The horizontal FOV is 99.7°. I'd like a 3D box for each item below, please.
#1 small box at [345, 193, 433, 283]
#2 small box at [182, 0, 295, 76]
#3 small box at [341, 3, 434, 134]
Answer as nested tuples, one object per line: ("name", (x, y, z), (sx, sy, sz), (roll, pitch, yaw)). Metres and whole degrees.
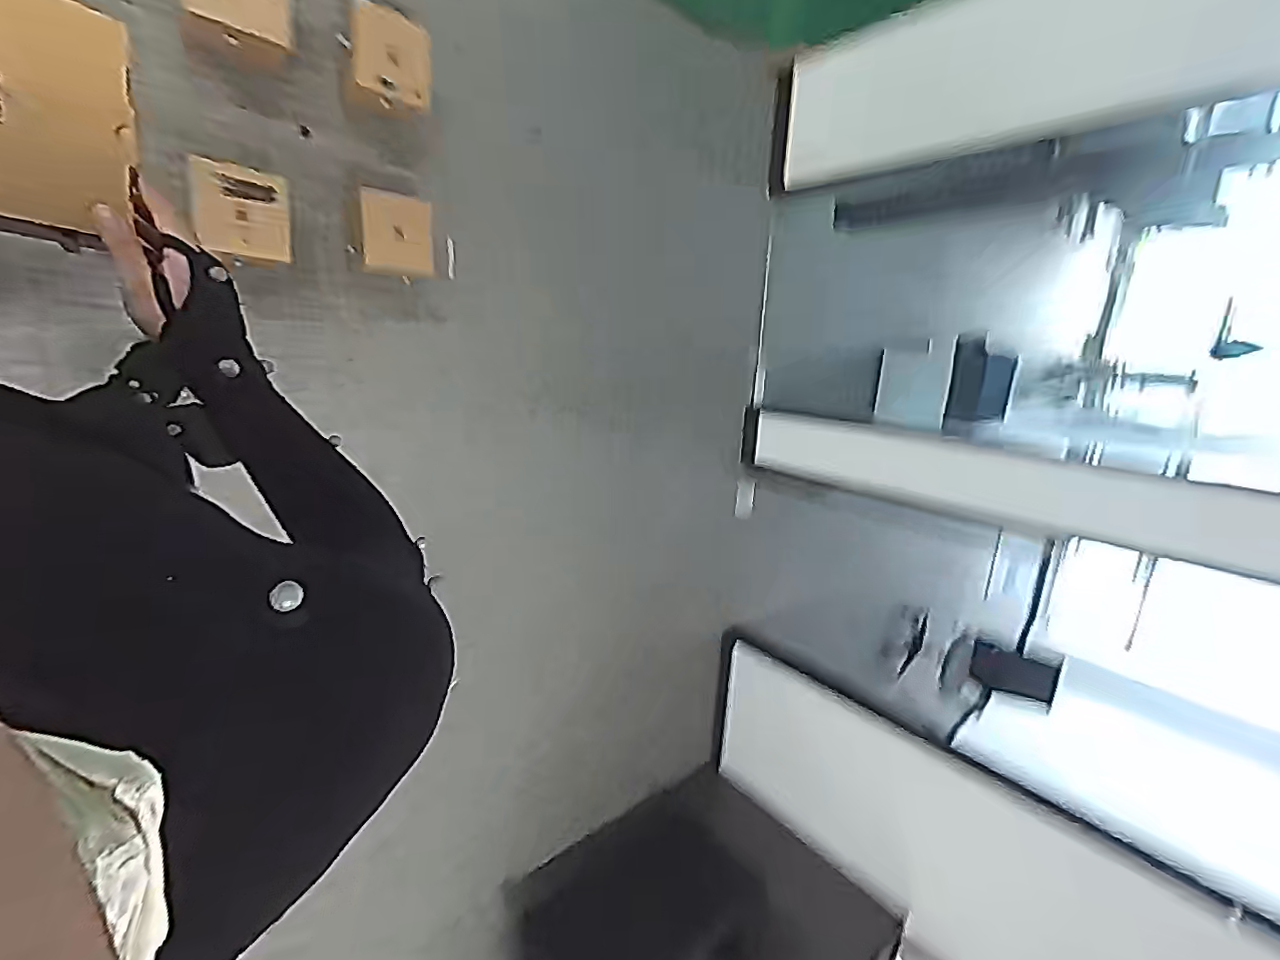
("small box", (-0.641, -0.607, 1.382), (0.168, 0.176, 0.179), (-7, 107, -42))
("small box", (-0.826, -0.972, 1.107), (0.179, 0.176, 0.168), (-6, 106, -42))
("small box", (-0.611, -0.974, 1.301), (0.168, 0.176, 0.179), (-3, 104, -41))
